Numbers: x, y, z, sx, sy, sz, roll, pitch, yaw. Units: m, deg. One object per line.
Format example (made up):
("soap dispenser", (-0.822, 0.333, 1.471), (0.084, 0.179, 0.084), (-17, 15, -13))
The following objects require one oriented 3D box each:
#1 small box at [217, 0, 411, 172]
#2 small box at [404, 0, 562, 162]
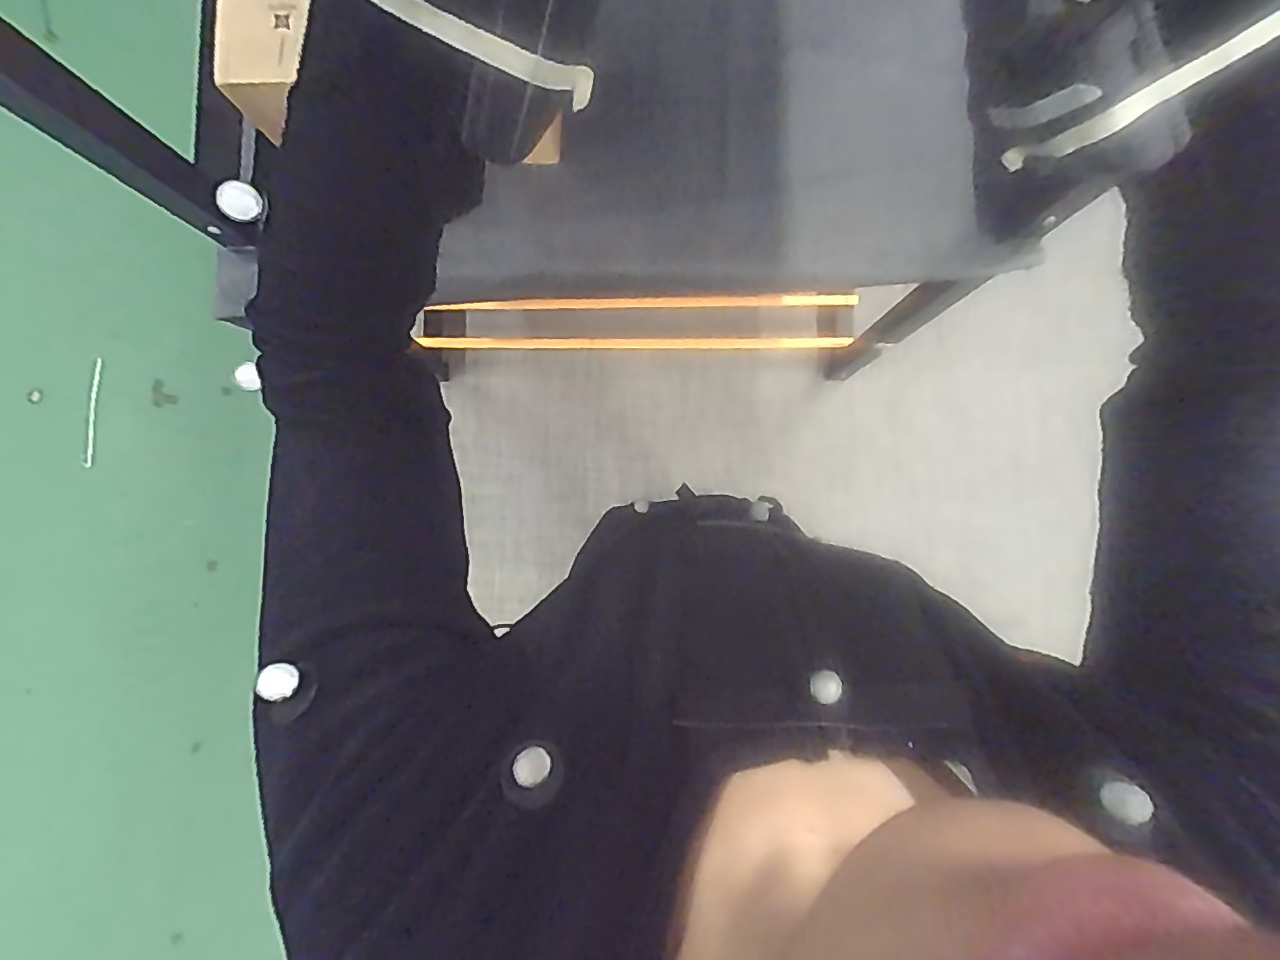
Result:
("small box", (-0.431, -0.561, 0.743), (0.168, 0.176, 0.179), (0, 86, 1))
("small box", (-0.203, -0.568, 0.742), (0.168, 0.176, 0.179), (1, 85, 1))
